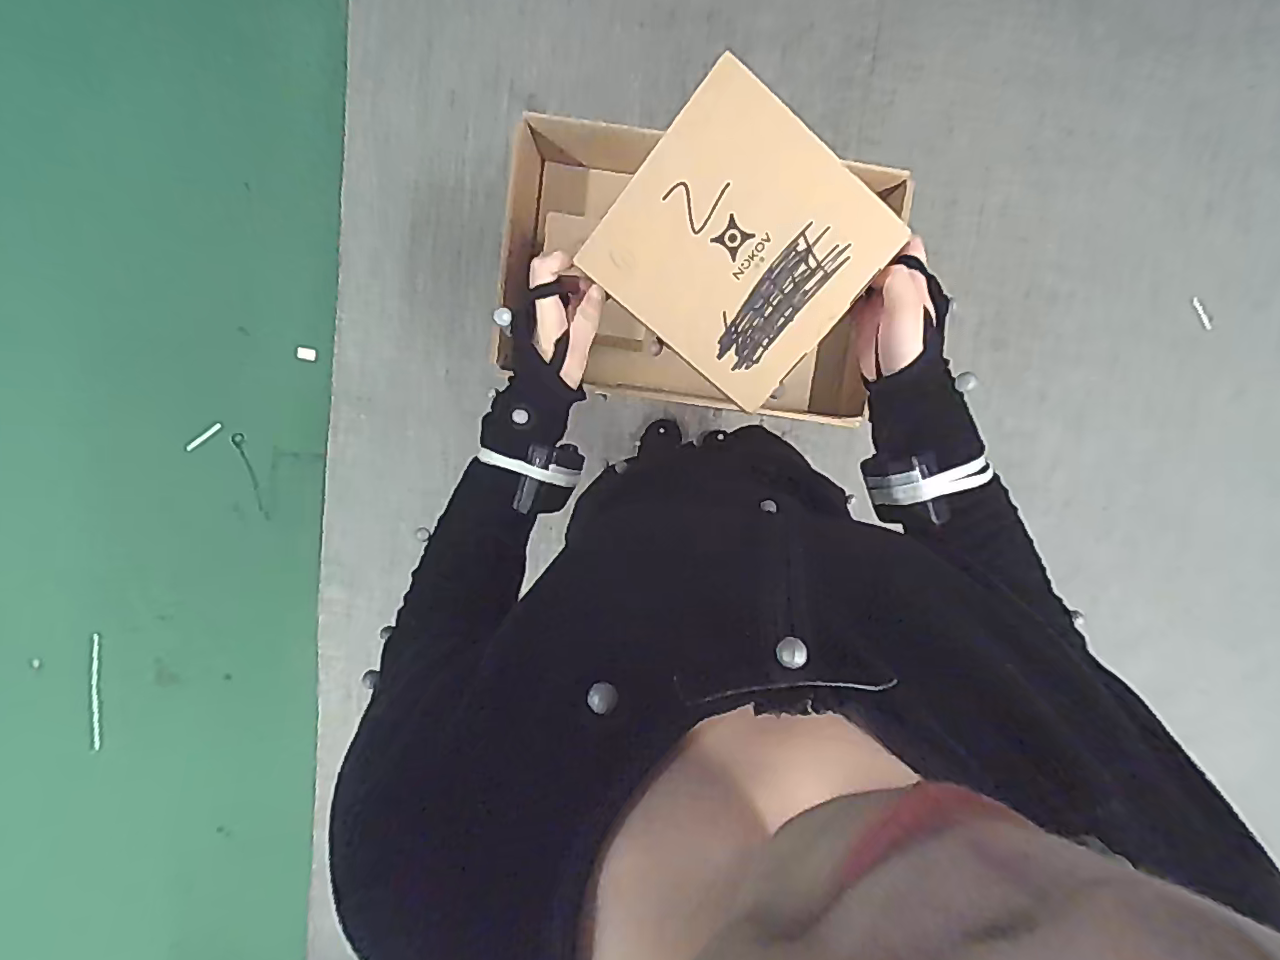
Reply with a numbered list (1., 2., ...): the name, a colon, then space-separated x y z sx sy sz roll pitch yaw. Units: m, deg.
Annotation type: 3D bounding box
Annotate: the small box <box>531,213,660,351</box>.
1. small box: -0.066 -0.315 0.893 0.179 0.176 0.168 10 98 1
